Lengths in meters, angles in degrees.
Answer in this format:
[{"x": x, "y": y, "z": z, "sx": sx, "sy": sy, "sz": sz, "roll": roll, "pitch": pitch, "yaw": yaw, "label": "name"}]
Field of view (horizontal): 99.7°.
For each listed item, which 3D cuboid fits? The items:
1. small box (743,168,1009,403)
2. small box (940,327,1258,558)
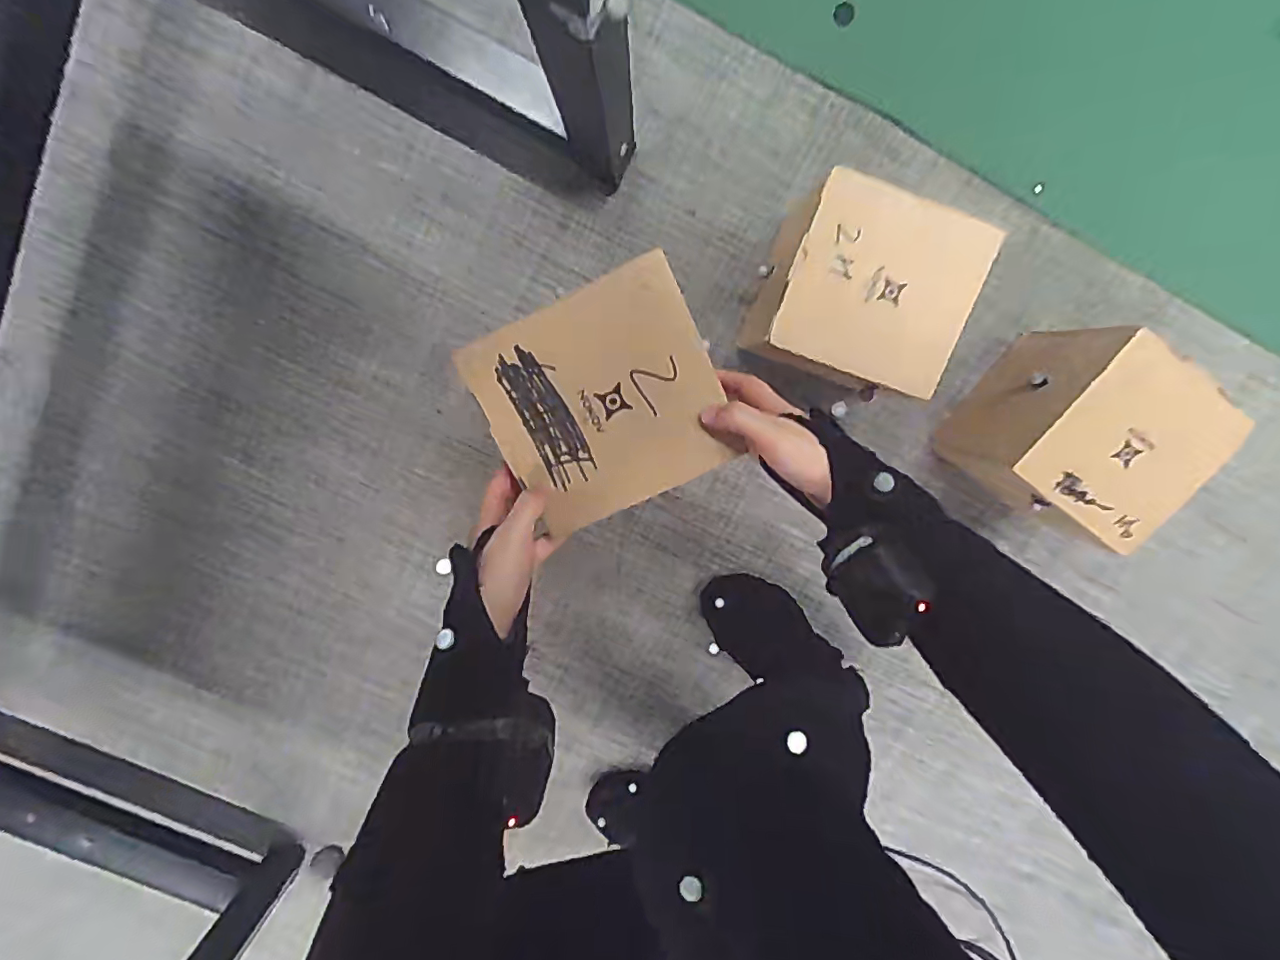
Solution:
[{"x": 0.230, "y": -0.195, "z": 0.580, "sx": 0.179, "sy": 0.176, "sz": 0.168, "roll": 19, "pitch": 102, "yaw": -3, "label": "small box"}, {"x": 0.488, "y": -0.050, "z": 0.607, "sx": 0.168, "sy": 0.176, "sz": 0.179, "roll": 35, "pitch": 101, "yaw": -8, "label": "small box"}]
